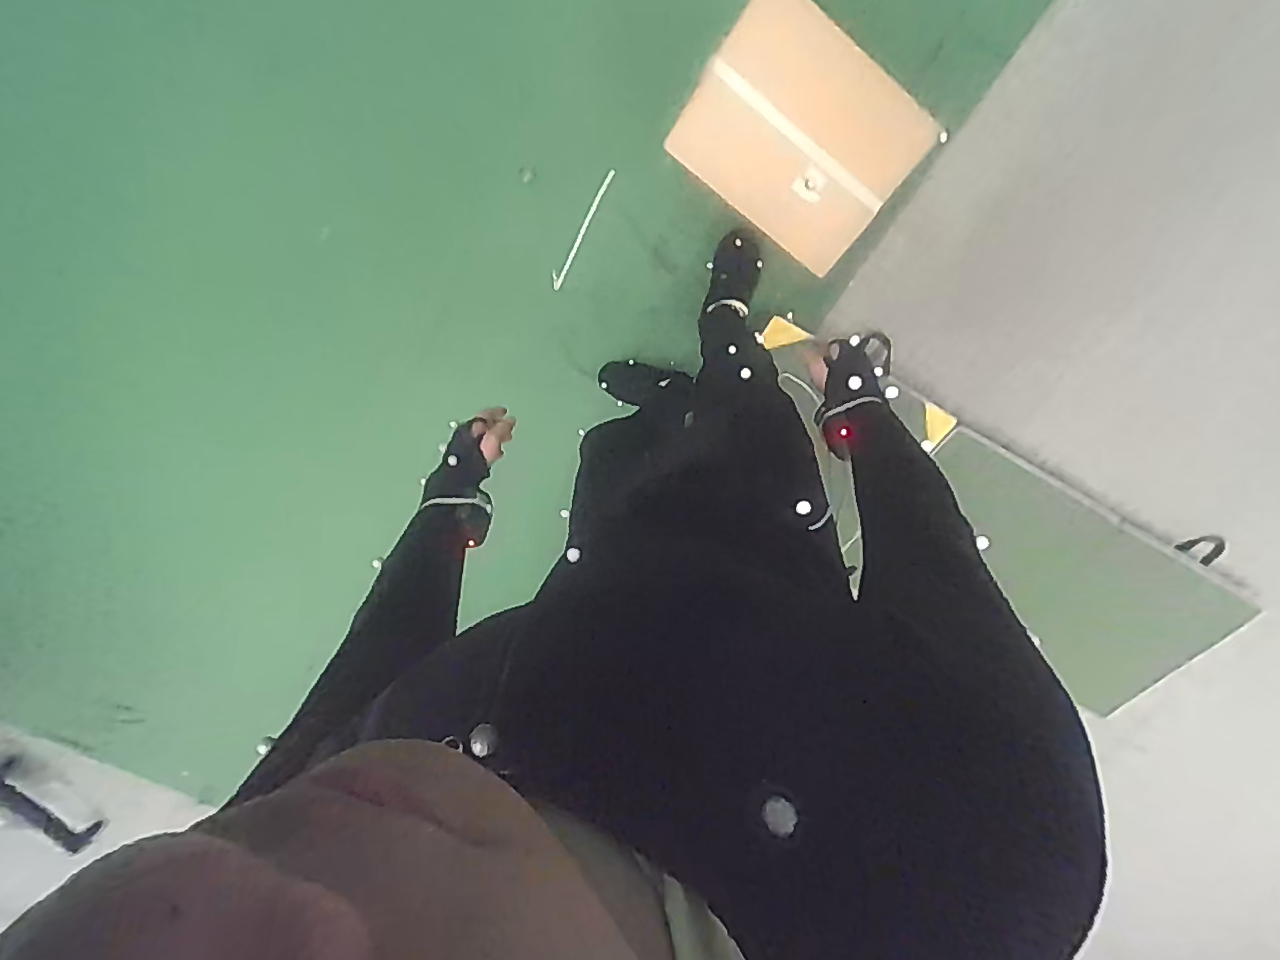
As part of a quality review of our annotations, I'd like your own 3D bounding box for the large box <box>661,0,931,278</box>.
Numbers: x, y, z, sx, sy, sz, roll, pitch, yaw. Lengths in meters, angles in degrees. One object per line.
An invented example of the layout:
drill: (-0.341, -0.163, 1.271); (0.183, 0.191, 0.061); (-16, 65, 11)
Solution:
large box: (0.291, -0.689, 1.133); (0.408, 0.320, 0.320); (33, 115, -12)
